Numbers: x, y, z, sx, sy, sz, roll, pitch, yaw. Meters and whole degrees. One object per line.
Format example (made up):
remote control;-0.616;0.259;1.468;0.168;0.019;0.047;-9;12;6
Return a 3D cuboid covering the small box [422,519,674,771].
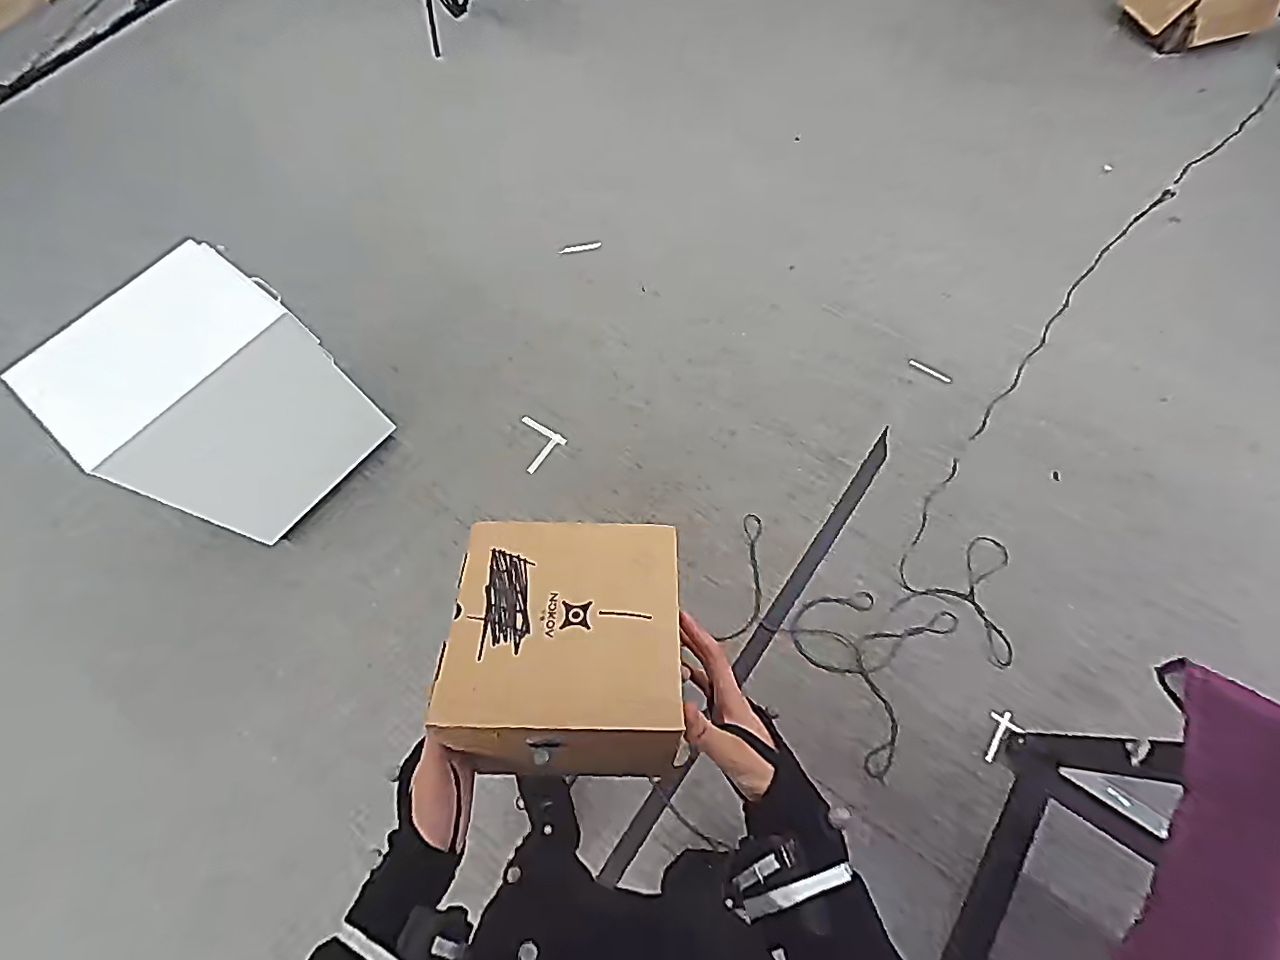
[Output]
small box;-0.062;0.150;0.477;0.179;0.176;0.168;1;52;-1
